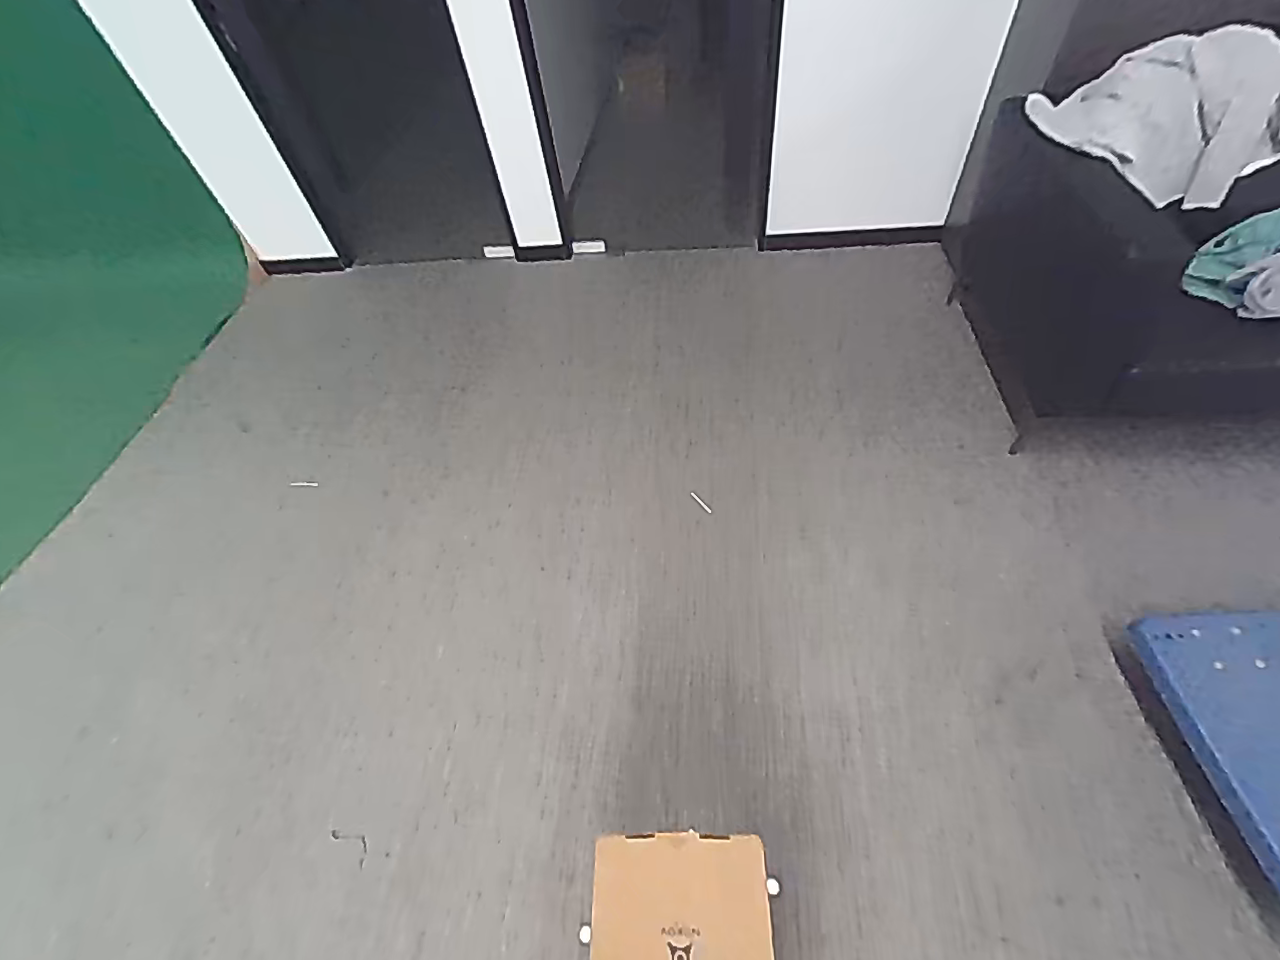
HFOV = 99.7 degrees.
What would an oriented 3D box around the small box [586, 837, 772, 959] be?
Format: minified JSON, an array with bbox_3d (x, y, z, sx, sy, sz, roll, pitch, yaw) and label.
[{"bbox_3d":[0.041,0.464,0.534,0.168,0.176,0.179,-2,52,4],"label":"small box"}]
